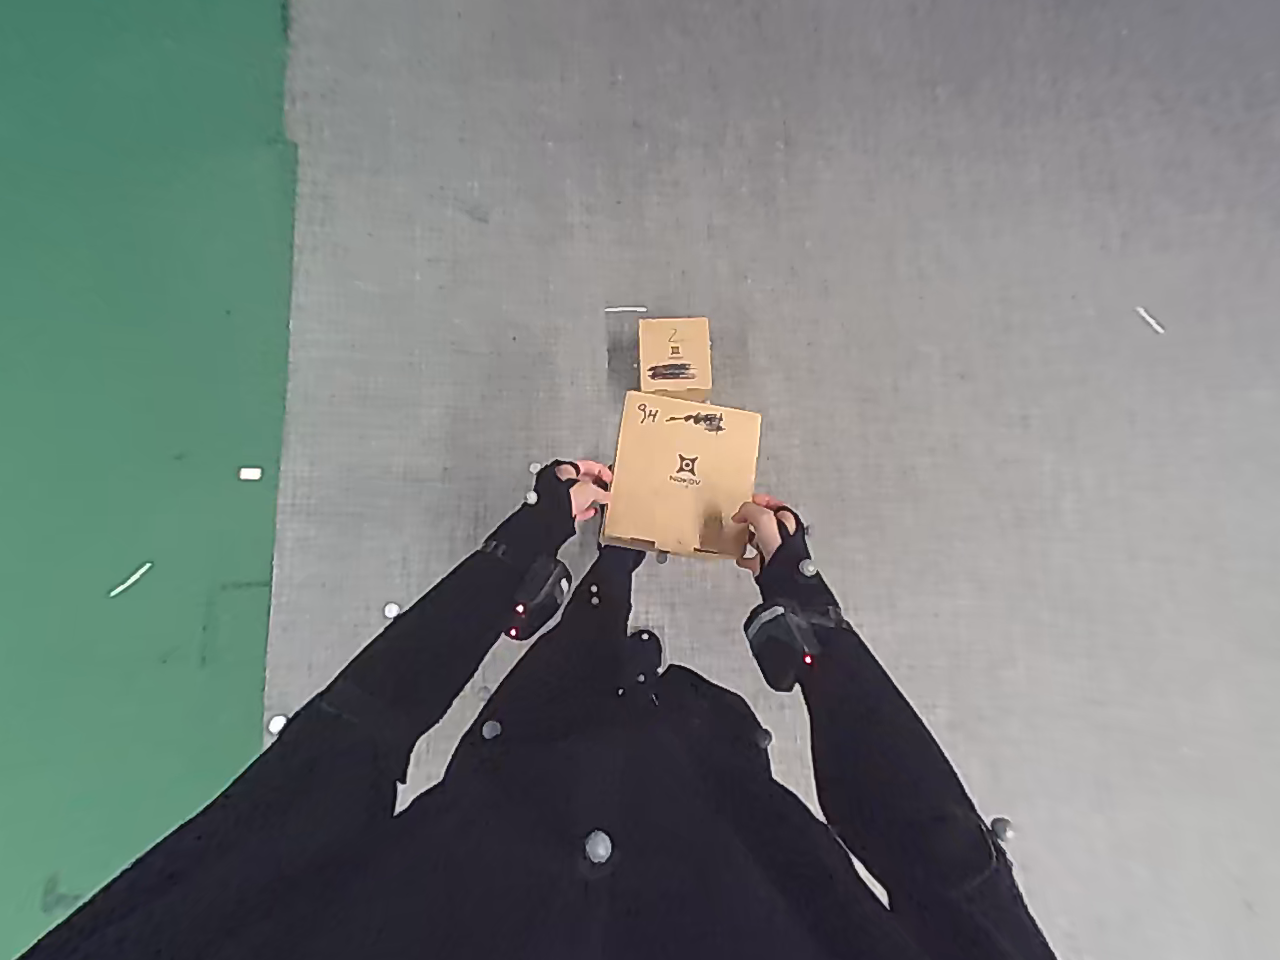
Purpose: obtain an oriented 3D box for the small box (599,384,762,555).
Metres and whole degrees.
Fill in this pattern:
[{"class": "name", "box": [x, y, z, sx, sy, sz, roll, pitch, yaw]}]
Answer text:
[{"class": "small box", "box": [0.043, -0.002, 0.699, 0.168, 0.176, 0.179, 10, 81, -4]}]
